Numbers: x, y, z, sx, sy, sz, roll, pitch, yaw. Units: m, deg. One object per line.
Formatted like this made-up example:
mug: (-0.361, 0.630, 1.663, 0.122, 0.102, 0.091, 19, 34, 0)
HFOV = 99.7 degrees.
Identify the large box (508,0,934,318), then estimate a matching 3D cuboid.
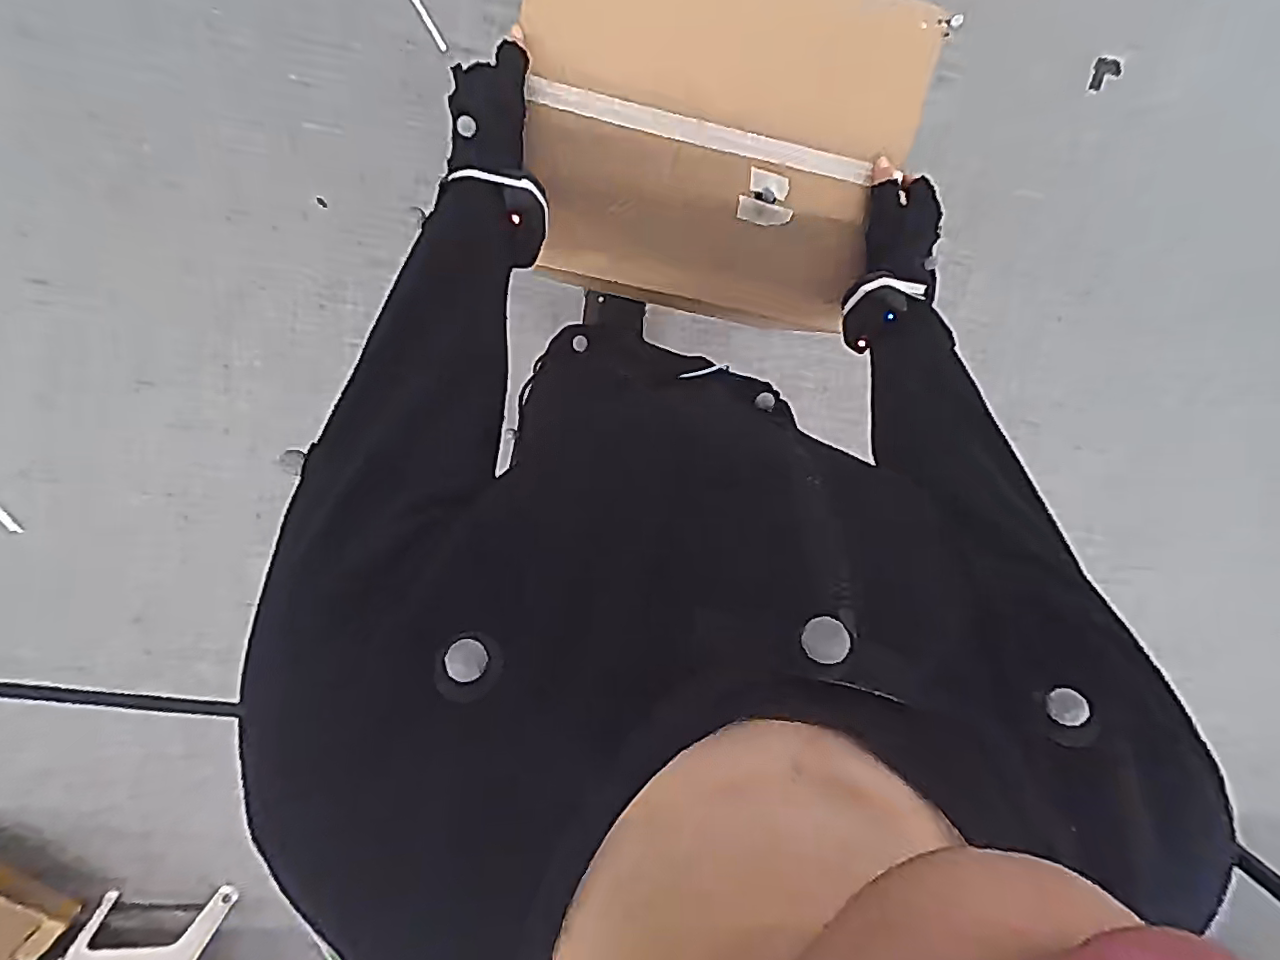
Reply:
large box: (0.066, -0.404, 0.704, 0.408, 0.320, 0.320, 10, 107, -7)
